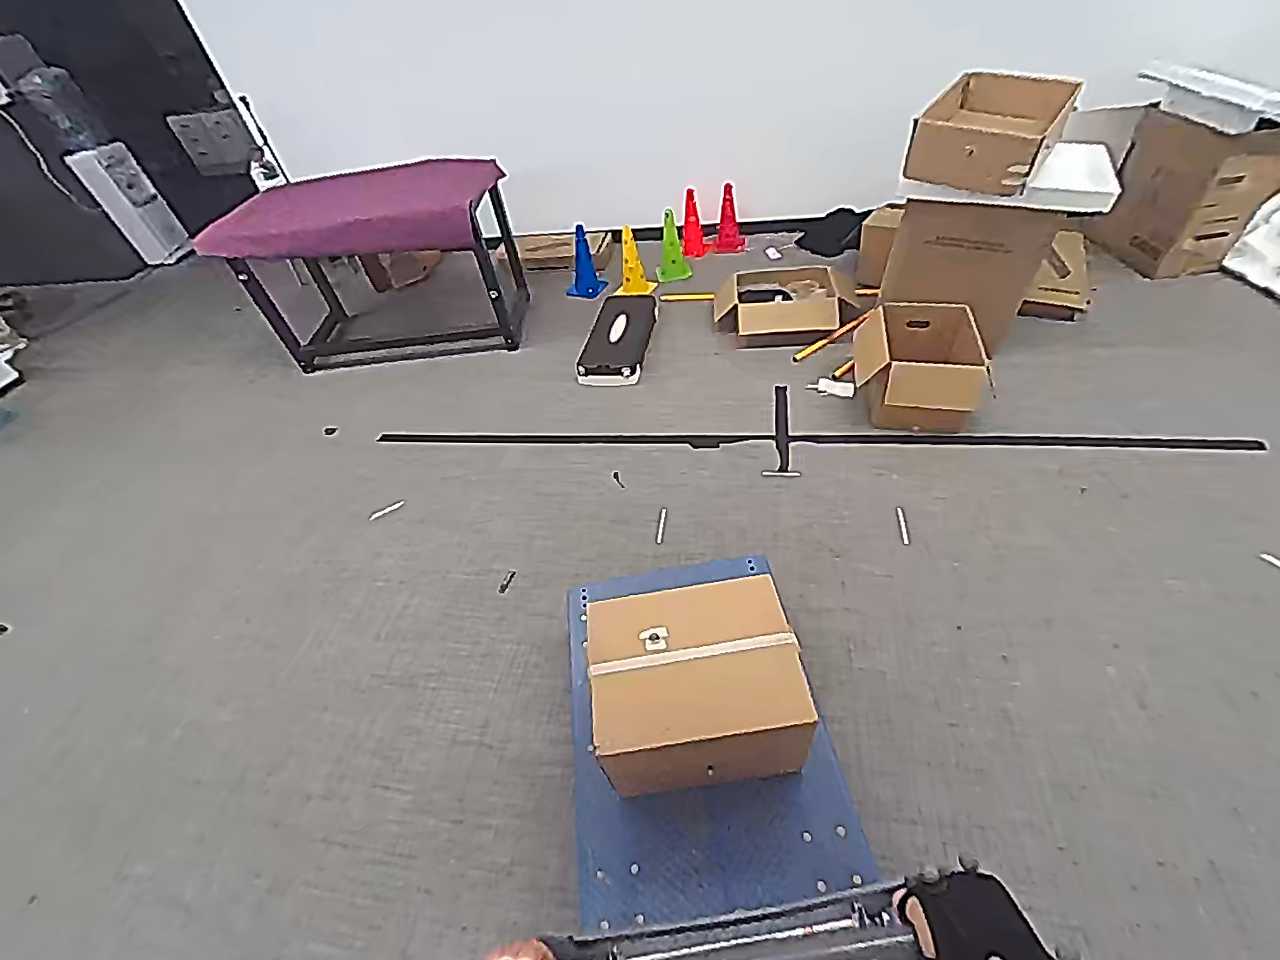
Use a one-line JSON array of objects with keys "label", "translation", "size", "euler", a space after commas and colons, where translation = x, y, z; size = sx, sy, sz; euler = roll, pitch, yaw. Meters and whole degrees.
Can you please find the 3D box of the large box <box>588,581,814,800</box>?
[{"label": "large box", "translation": [0.122, 0.464, 1.182], "size": [0.408, 0.320, 0.320], "euler": [-11, 46, 1]}]
